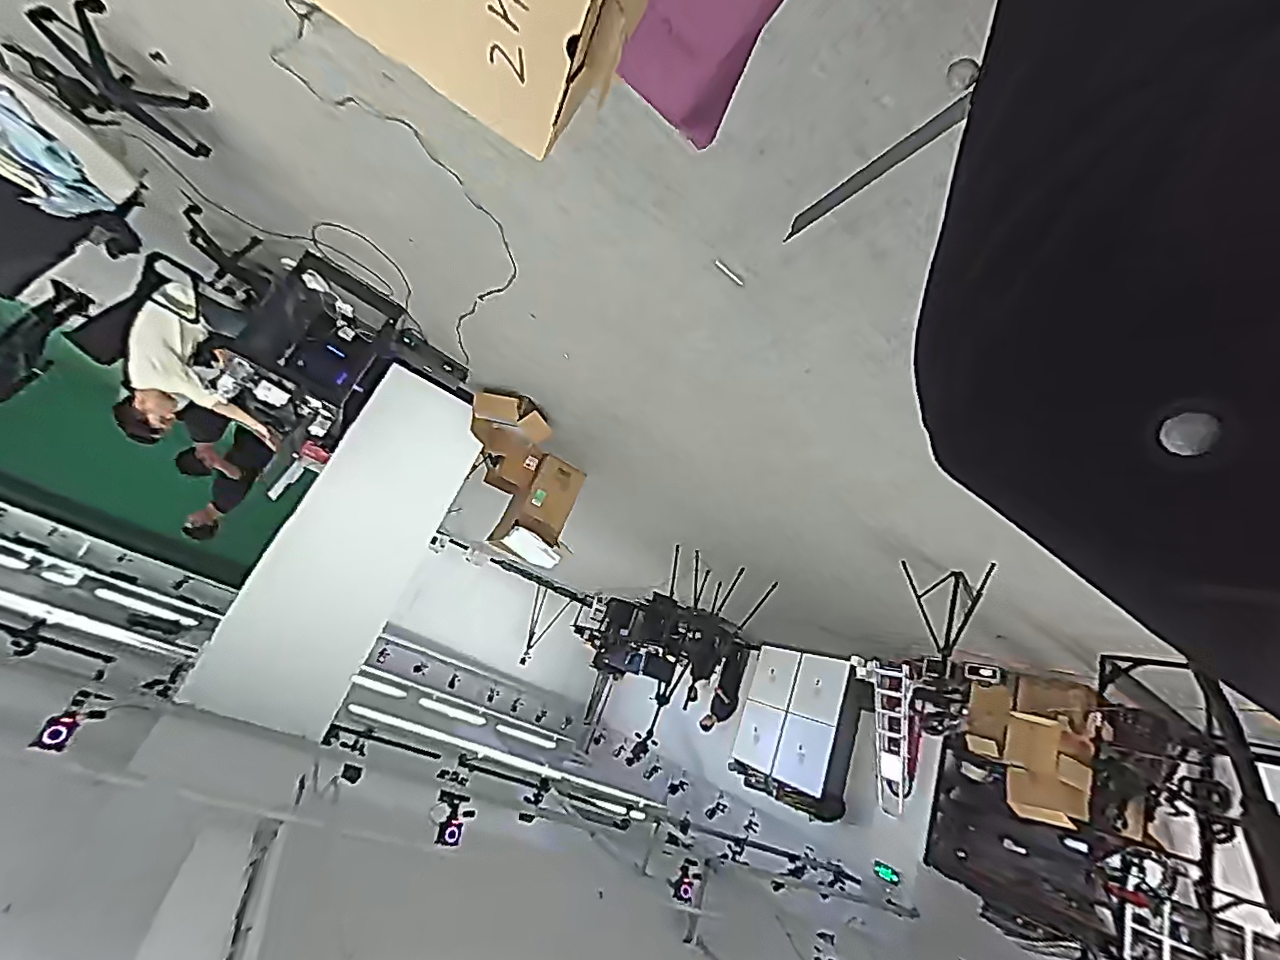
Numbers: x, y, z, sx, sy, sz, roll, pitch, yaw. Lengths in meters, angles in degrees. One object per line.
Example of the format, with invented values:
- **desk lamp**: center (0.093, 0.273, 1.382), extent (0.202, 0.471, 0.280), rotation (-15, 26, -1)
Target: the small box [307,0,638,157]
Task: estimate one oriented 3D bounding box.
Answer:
- **small box**: center (-0.080, -0.340, 0.296), extent (0.179, 0.176, 0.168), rotation (29, 159, -16)
